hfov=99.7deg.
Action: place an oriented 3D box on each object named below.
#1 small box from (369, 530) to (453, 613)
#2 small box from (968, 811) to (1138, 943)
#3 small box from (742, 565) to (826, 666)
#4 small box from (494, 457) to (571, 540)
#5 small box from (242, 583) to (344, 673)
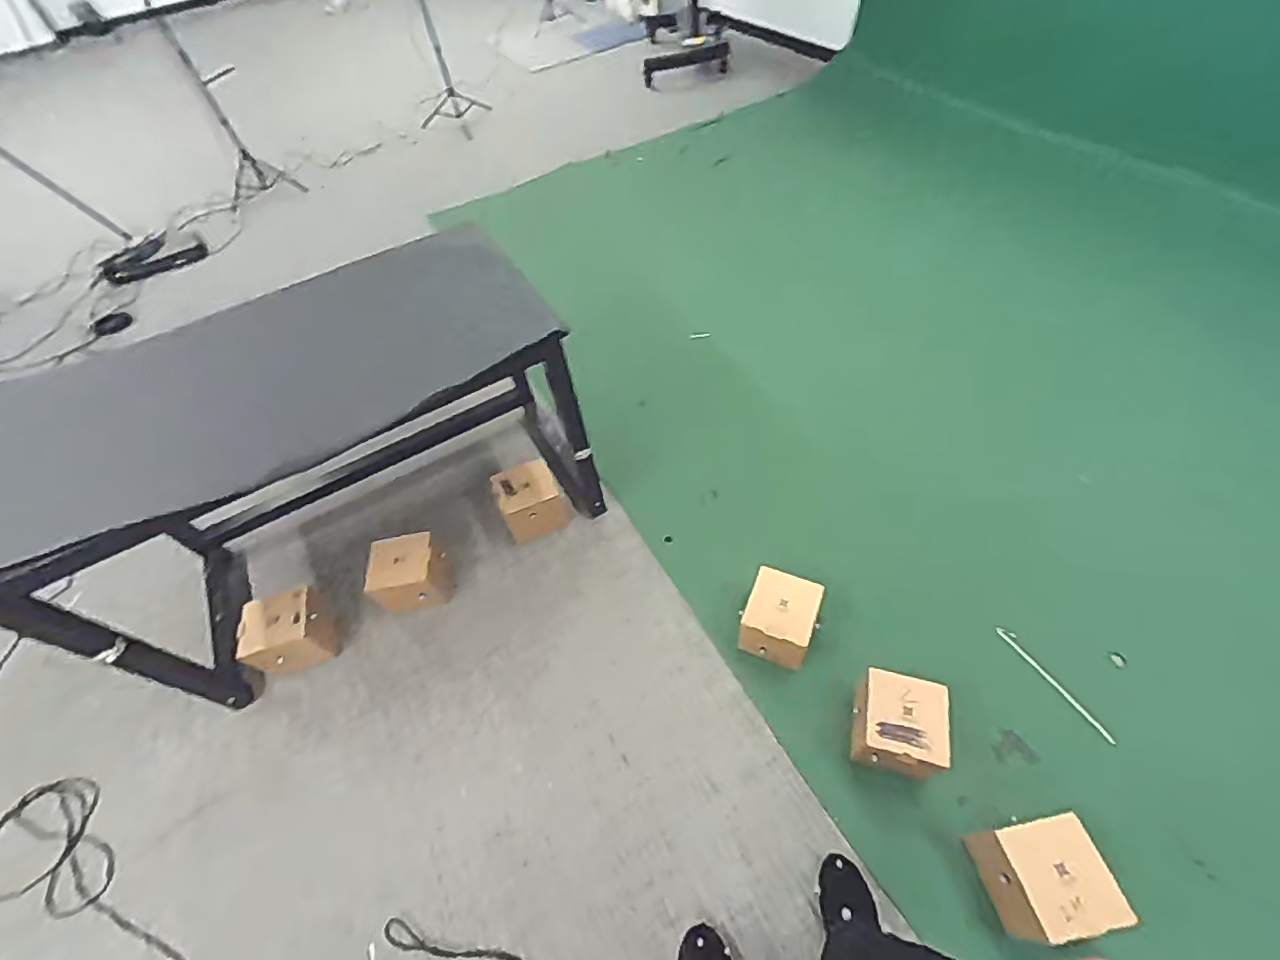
[{"bbox_3d":[-0.667,0.274,1.601,0.179,0.176,0.168,-12,53,0],"label":"small box"},{"bbox_3d":[0.790,0.774,1.060,0.168,0.176,0.179,-12,54,-2],"label":"small box"},{"bbox_3d":[0.371,0.357,1.417,0.168,0.176,0.179,17,59,18],"label":"small box"},{"bbox_3d":[-0.338,0.064,1.713,0.179,0.176,0.168,-23,55,-11],"label":"small box"},{"bbox_3d":[-0.973,0.423,1.530,0.179,0.176,0.168,-18,54,-6],"label":"small box"}]
